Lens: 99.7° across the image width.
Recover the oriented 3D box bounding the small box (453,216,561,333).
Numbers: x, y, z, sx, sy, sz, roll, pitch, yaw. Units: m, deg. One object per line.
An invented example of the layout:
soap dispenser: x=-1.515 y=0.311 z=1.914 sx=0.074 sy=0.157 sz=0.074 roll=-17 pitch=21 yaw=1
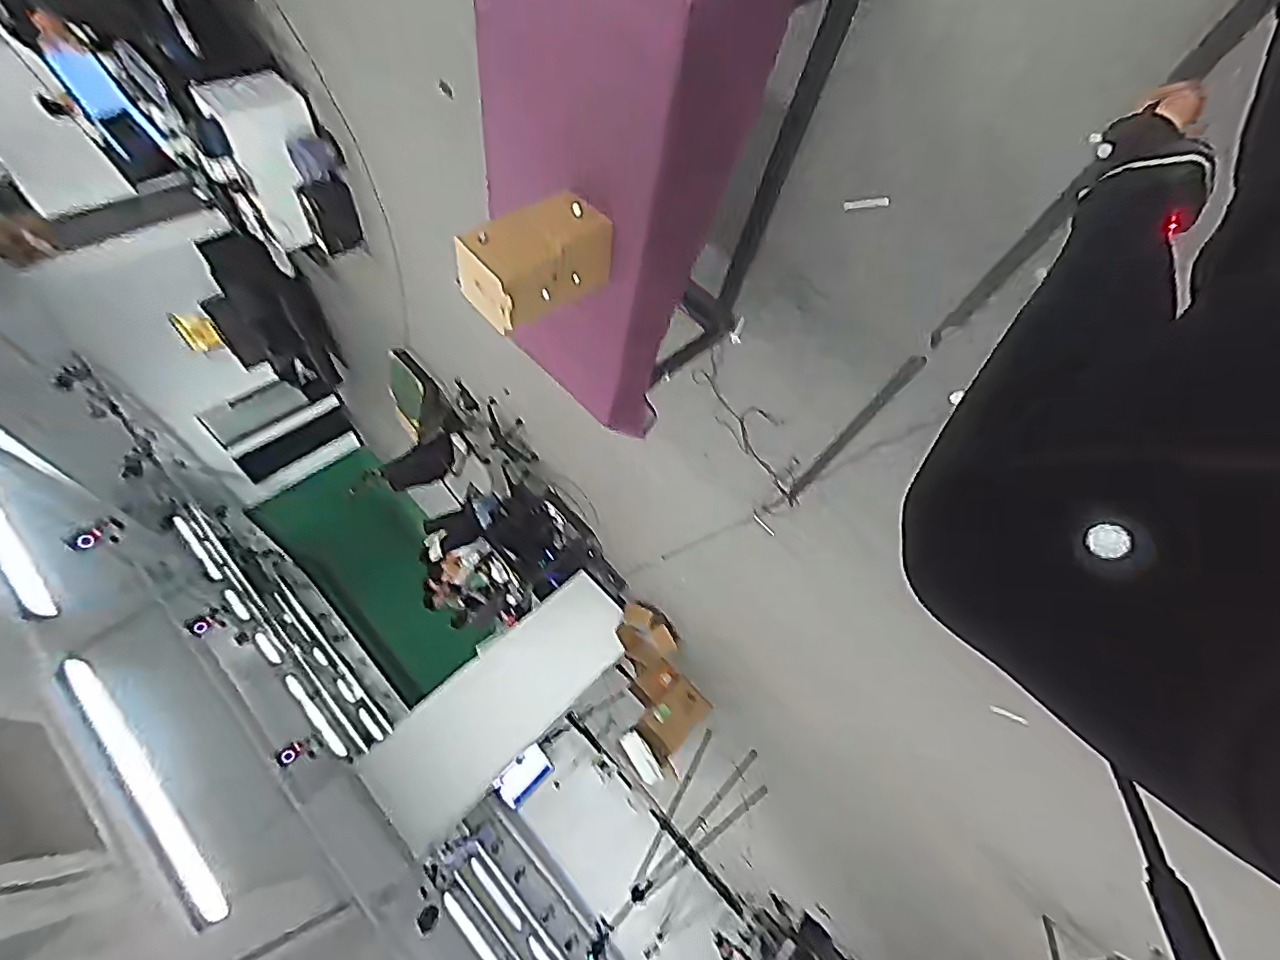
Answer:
small box: x=-0.308 y=-0.486 z=1.262 sx=0.179 sy=0.176 sz=0.168 roll=45 pitch=153 yaw=13

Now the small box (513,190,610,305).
small box: x=-0.190 y=-0.575 z=1.335 sx=0.168 sy=0.176 sz=0.179 roll=42 pitch=151 yaw=18
